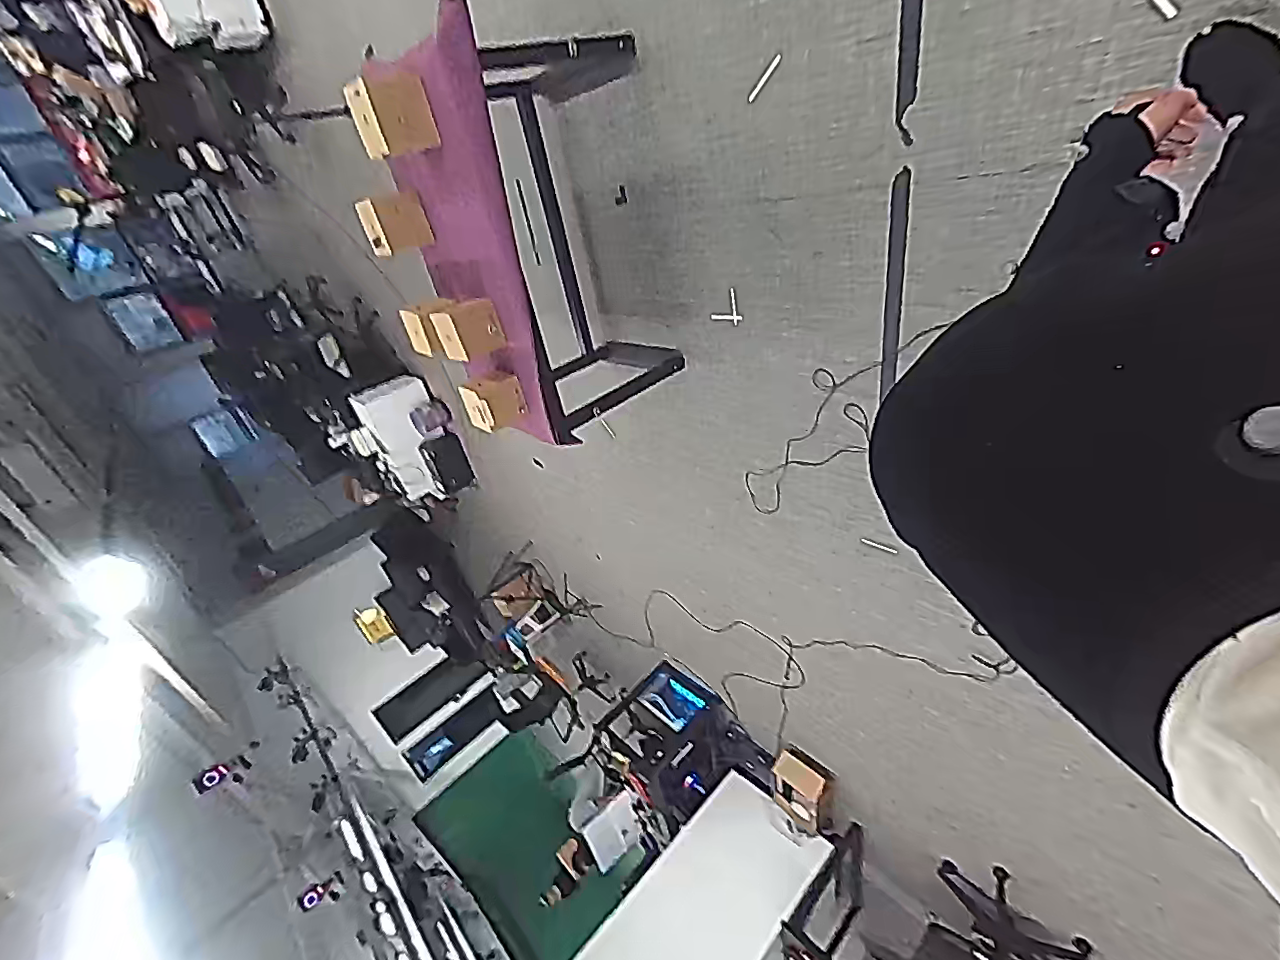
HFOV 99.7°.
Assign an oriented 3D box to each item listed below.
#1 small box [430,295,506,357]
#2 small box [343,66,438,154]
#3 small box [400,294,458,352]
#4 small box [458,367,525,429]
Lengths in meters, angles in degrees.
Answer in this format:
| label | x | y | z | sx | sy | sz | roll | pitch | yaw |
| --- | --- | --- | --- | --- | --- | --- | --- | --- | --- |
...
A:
| label | x | y | z | sx | sy | sz | roll | pitch | yaw |
| --- | --- | --- | --- | --- | --- | --- | --- | --- | --- |
| small box | -0.603 | -0.546 | 1.906 | 0.179 | 0.176 | 0.168 | 18 | 133 | 47 |
| small box | -0.716 | -1.068 | 1.566 | 0.168 | 0.176 | 0.179 | 23 | 138 | 42 |
| small box | -0.795 | -0.615 | 2.101 | 0.179 | 0.176 | 0.168 | 24 | 136 | 41 |
| small box | -0.554 | -0.316 | 2.047 | 0.179 | 0.176 | 0.168 | 22 | 135 | 45 |
